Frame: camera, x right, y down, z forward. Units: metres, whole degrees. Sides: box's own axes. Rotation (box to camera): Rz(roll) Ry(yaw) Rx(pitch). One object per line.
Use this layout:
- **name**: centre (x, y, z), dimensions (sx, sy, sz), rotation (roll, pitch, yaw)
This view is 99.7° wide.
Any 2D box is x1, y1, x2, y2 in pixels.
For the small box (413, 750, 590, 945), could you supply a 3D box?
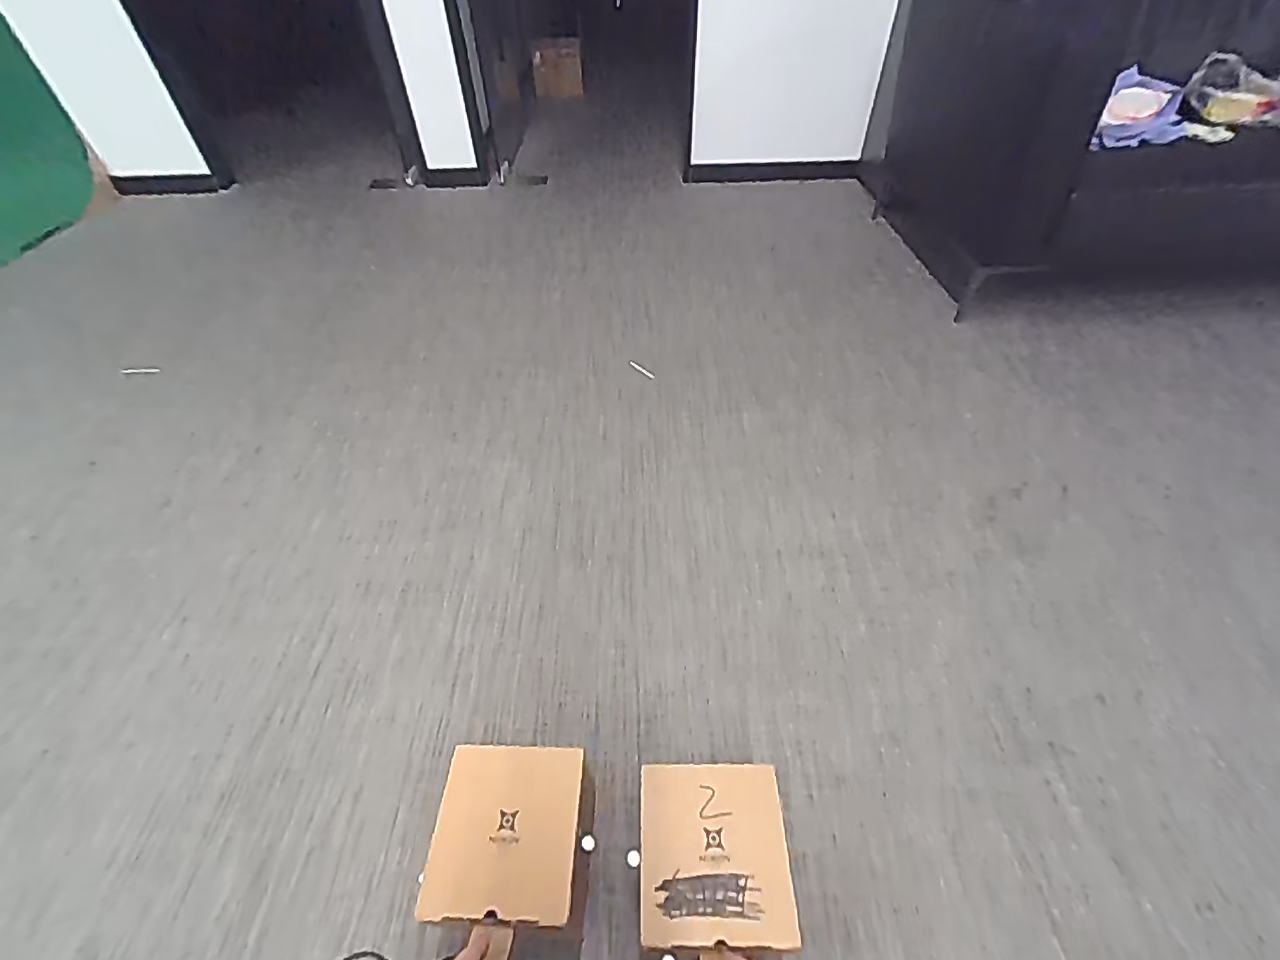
- **small box**: centre (-0.156, 0.463, 0.682), dimensions (0.168, 0.176, 0.179), rotation (1, 47, 2)
